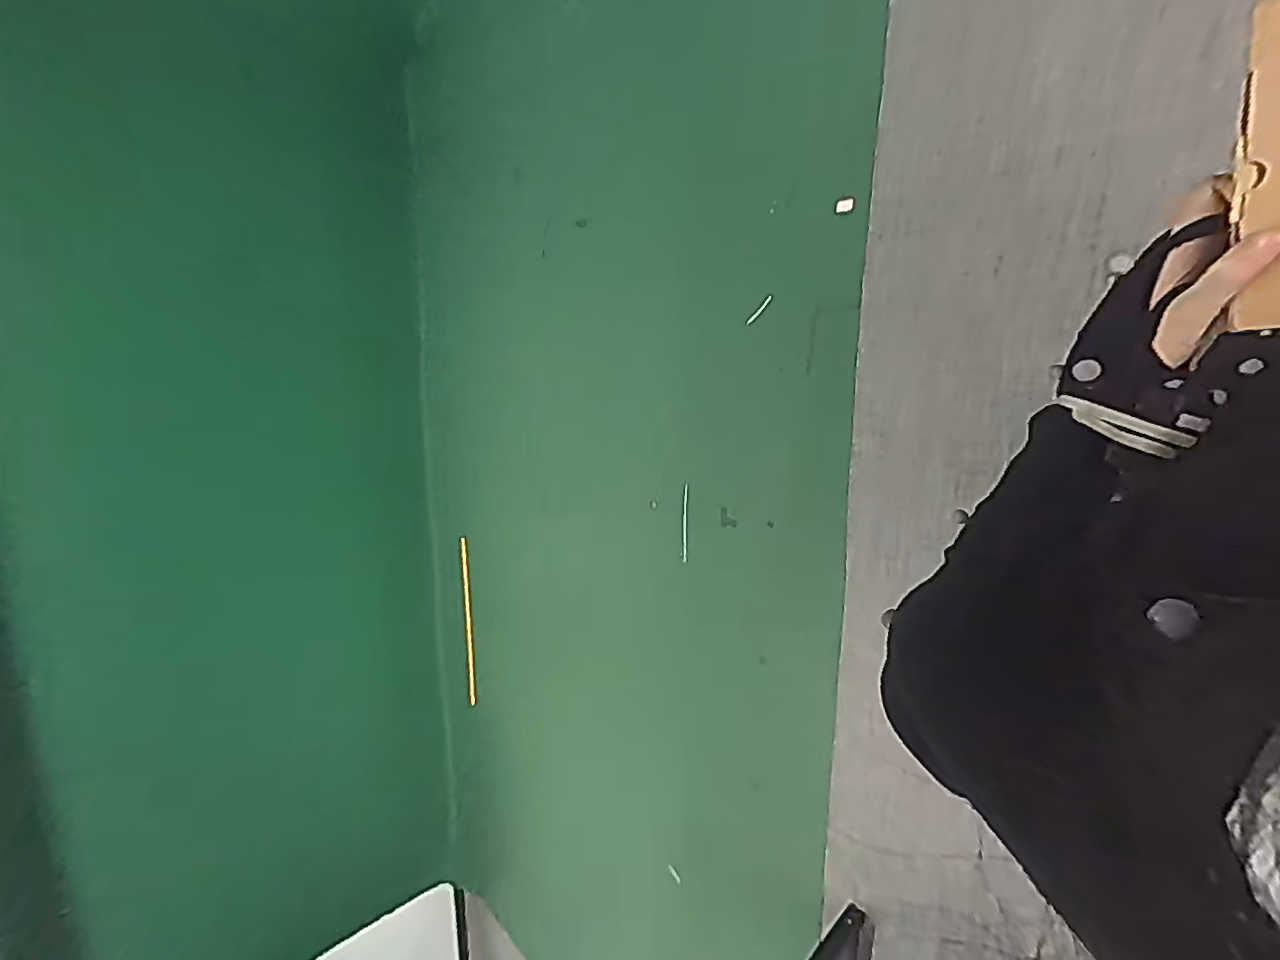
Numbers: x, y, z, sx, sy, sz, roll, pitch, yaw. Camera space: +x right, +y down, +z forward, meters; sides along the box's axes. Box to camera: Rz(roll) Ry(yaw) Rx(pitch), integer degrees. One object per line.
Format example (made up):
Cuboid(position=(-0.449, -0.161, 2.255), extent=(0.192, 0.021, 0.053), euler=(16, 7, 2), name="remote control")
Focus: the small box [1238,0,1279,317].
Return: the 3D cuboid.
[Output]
Cuboid(position=(0.446, -0.185, 0.262), extent=(0.179, 0.176, 0.168), euler=(11, 115, 59), name="small box")
